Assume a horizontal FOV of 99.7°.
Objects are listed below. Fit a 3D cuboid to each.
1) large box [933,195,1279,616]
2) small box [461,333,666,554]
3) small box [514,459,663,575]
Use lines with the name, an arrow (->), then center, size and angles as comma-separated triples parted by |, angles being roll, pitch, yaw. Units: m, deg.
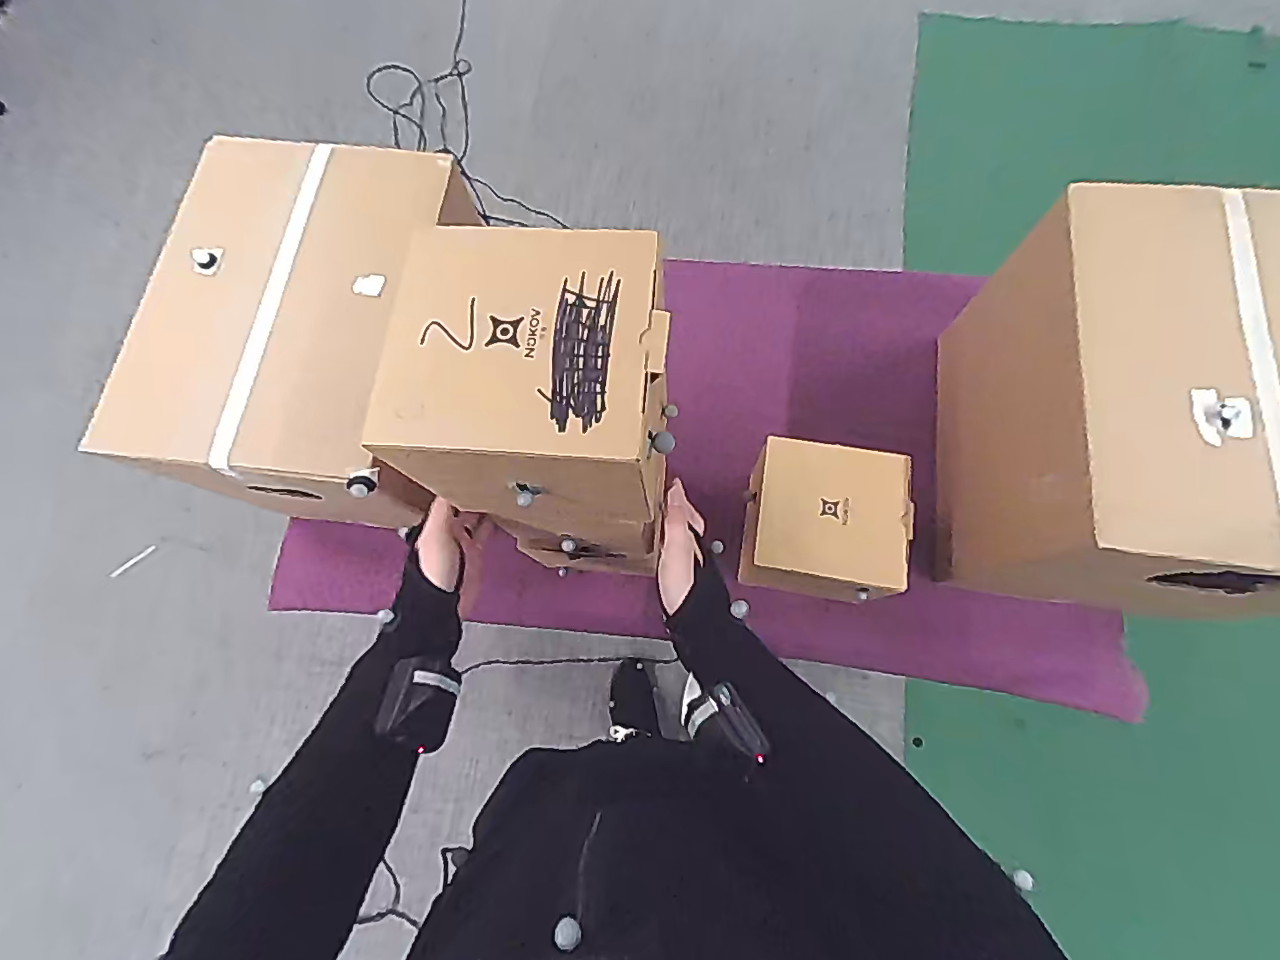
large box -> 0.585, -0.062, 0.660 | 0.320, 0.320, 0.408 | 7, 75, 6
small box -> -0.066, -0.029, 0.580 | 0.168, 0.176, 0.179 | 7, 73, 6
small box -> -0.057, 0.029, 0.736 | 0.168, 0.176, 0.179 | 4, 72, 4
